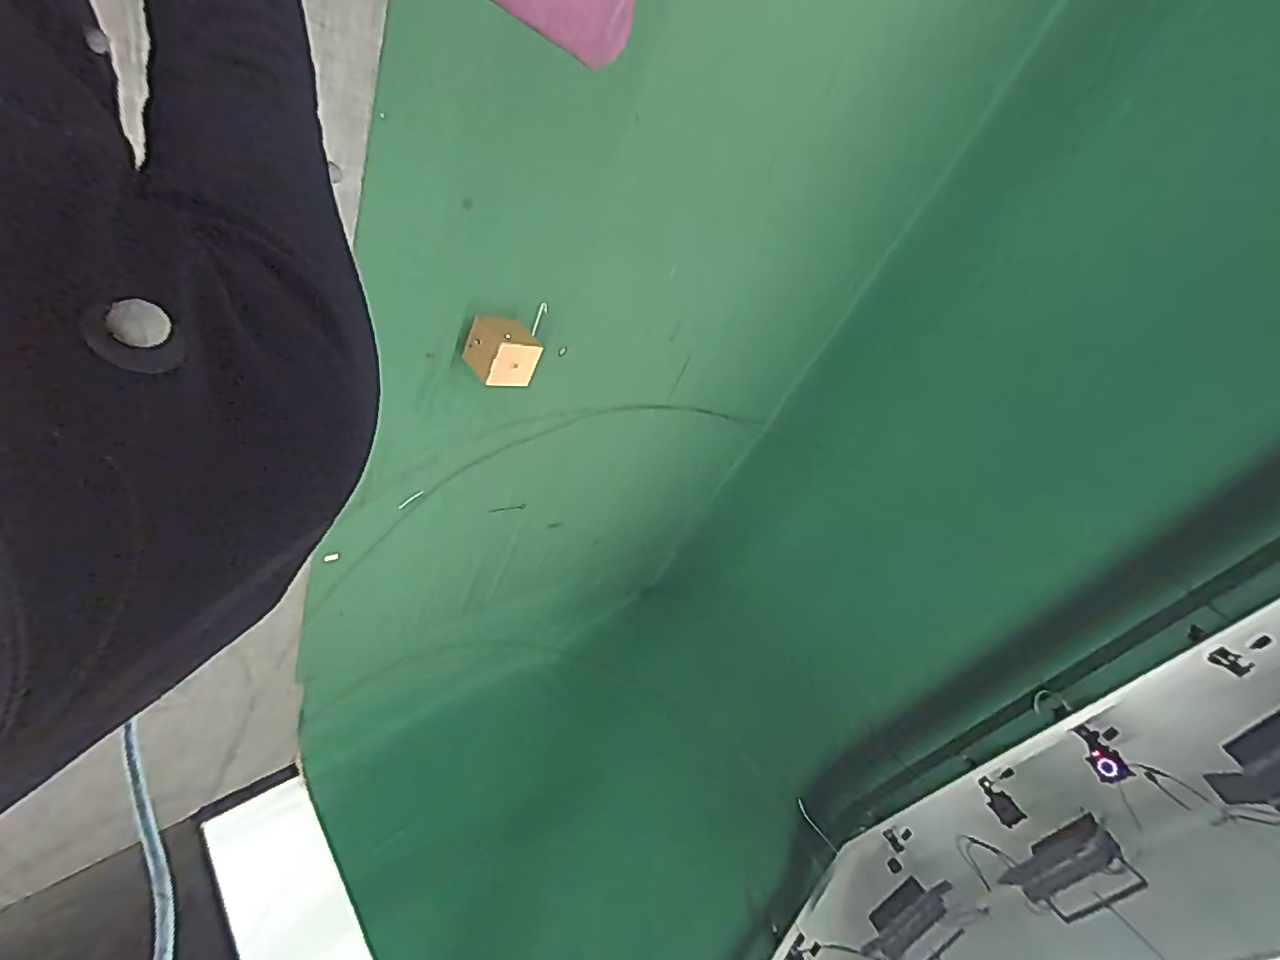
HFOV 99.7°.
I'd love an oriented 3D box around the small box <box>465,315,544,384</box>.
[{"bbox_3d":[-0.468,-0.446,1.854,0.179,0.176,0.168,-10,140,-48],"label":"small box"}]
